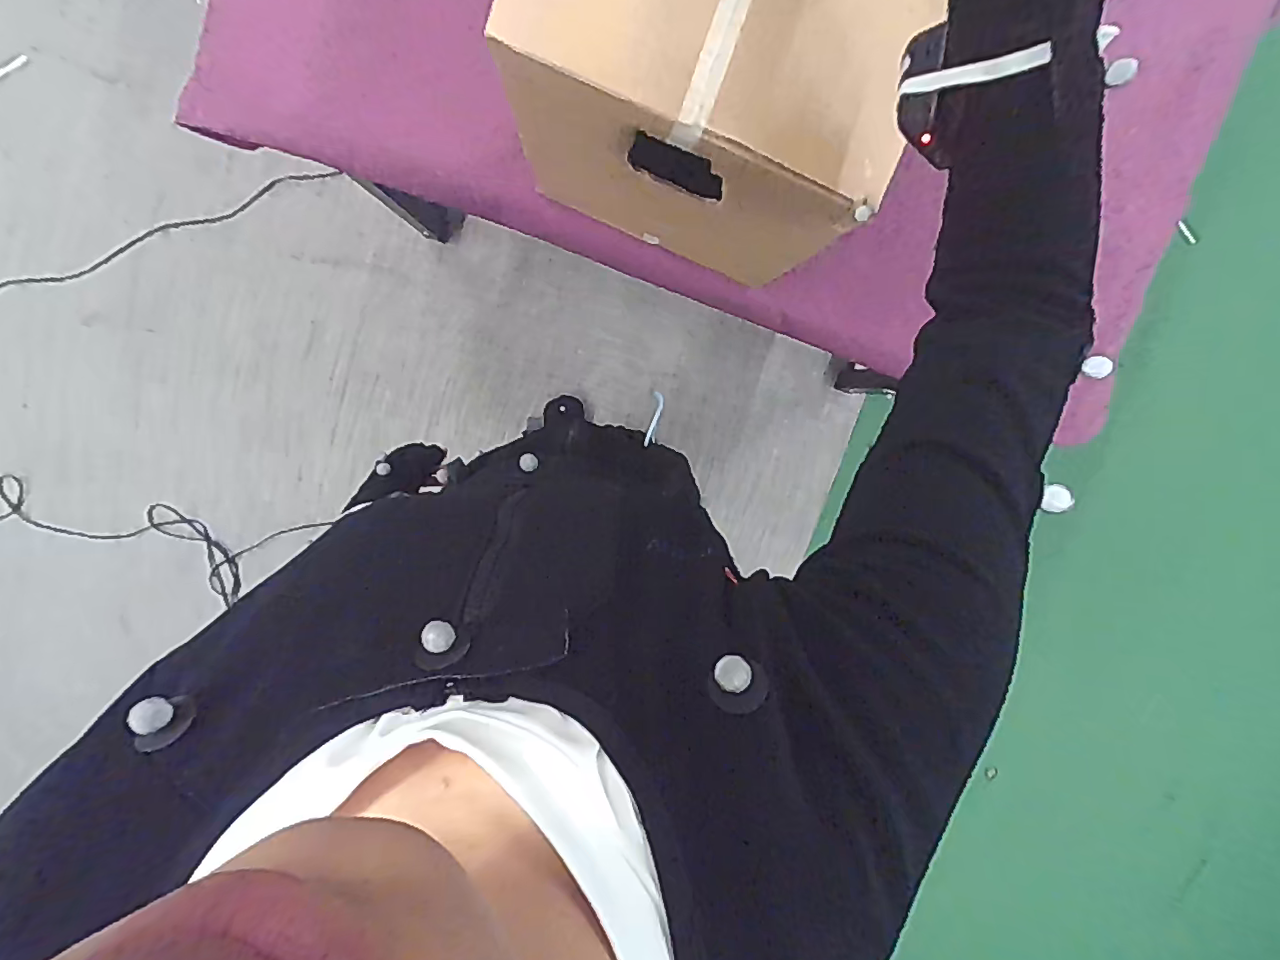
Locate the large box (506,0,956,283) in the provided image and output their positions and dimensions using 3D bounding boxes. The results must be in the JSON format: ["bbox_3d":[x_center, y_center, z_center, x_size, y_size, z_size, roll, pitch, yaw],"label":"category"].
[{"bbox_3d":[0.098,-0.470,0.537,0.320,0.320,0.408,21,98,-7],"label":"large box"}]
